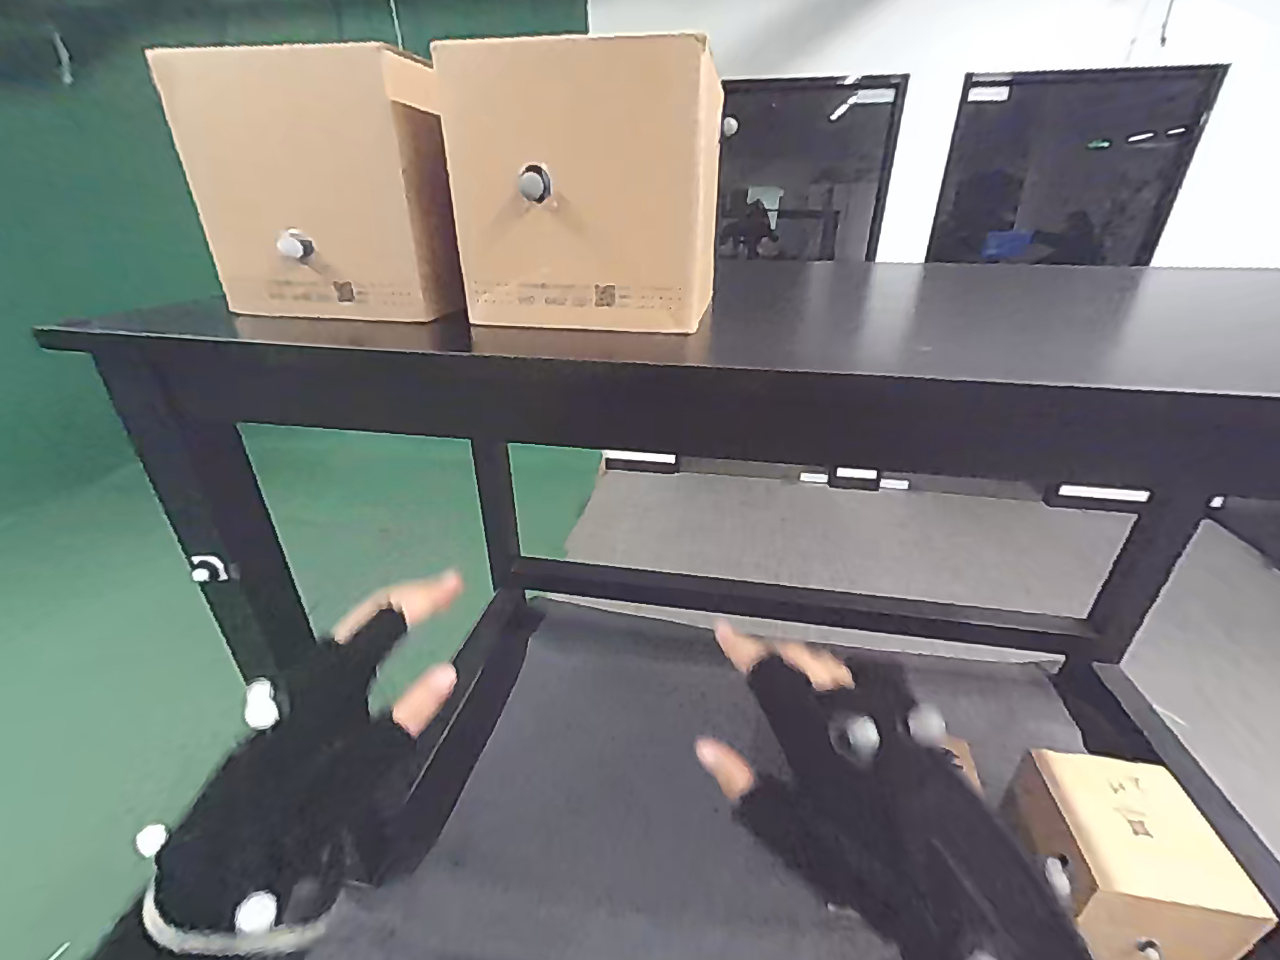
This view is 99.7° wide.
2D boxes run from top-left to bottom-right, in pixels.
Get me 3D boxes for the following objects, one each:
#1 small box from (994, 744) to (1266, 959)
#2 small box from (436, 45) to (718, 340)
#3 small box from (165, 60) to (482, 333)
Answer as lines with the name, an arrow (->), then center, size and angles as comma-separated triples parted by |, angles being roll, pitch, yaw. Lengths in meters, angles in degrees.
small box -> 0.583, 0.473, 0.678 | 0.168, 0.176, 0.179 | 5, 27, 9
small box -> -0.029, -0.211, 0.424 | 0.168, 0.176, 0.179 | 5, 27, 9
small box -> -0.222, -0.229, 0.453 | 0.168, 0.176, 0.179 | 4, 29, 8
